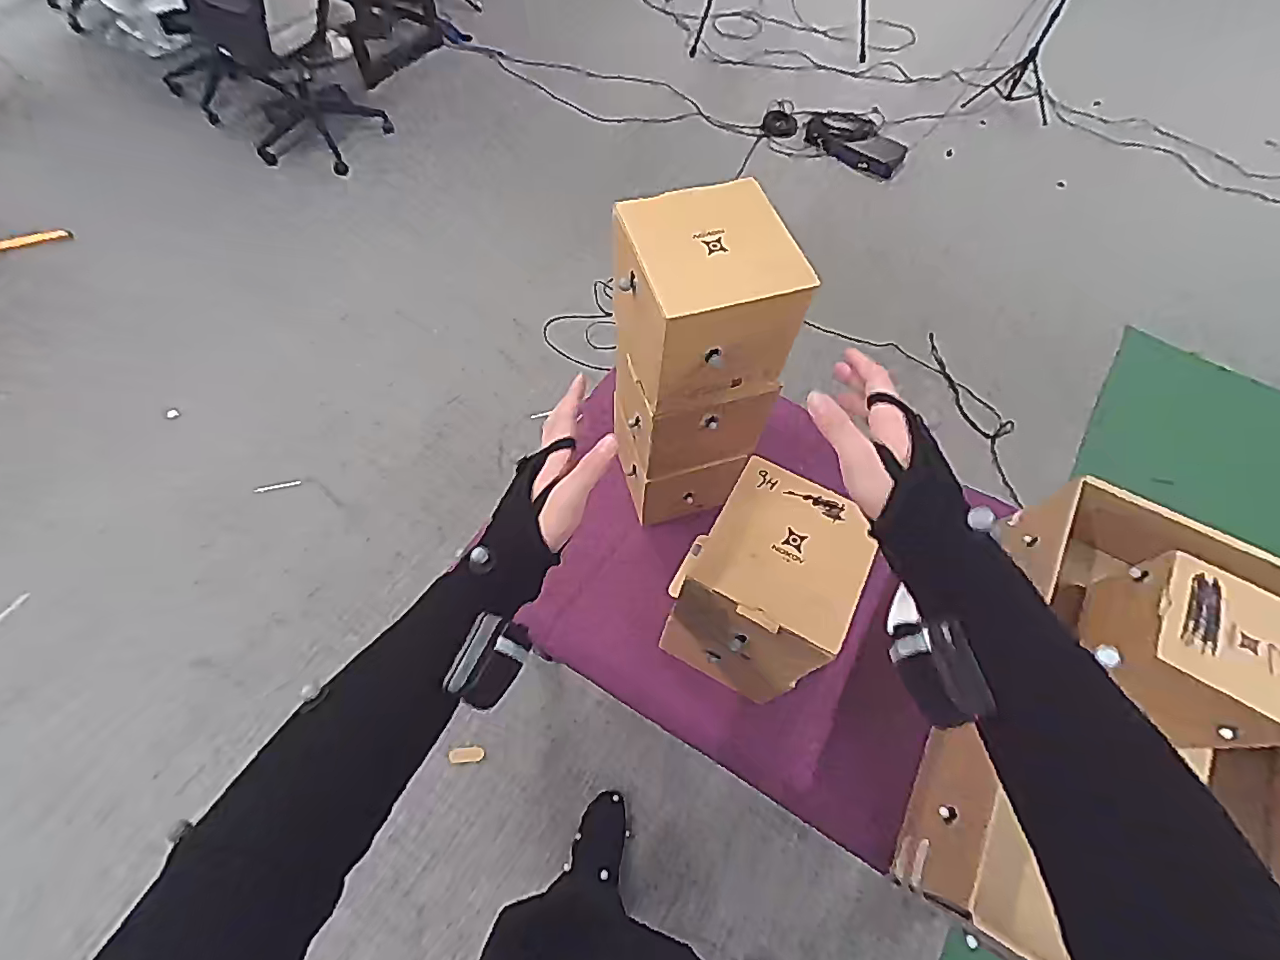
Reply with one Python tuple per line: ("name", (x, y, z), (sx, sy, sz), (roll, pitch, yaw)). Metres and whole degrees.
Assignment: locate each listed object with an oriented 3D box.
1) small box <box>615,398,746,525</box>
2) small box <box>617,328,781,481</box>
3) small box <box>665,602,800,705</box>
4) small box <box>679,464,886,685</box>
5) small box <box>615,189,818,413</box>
("small box", (0.060, -0.037, 0.914), (0.168, 0.176, 0.179), (-14, 63, -10))
("small box", (0.072, -0.116, 0.772), (0.179, 0.176, 0.168), (-14, 64, -10))
("small box", (0.149, 0.205, 0.782), (0.179, 0.176, 0.168), (26, 63, 12))
("small box", (0.156, 0.119, 0.643), (0.168, 0.176, 0.179), (27, 63, 11))
("small box", (0.075, -0.197, 0.631), (0.168, 0.176, 0.179), (-16, 63, -10))
